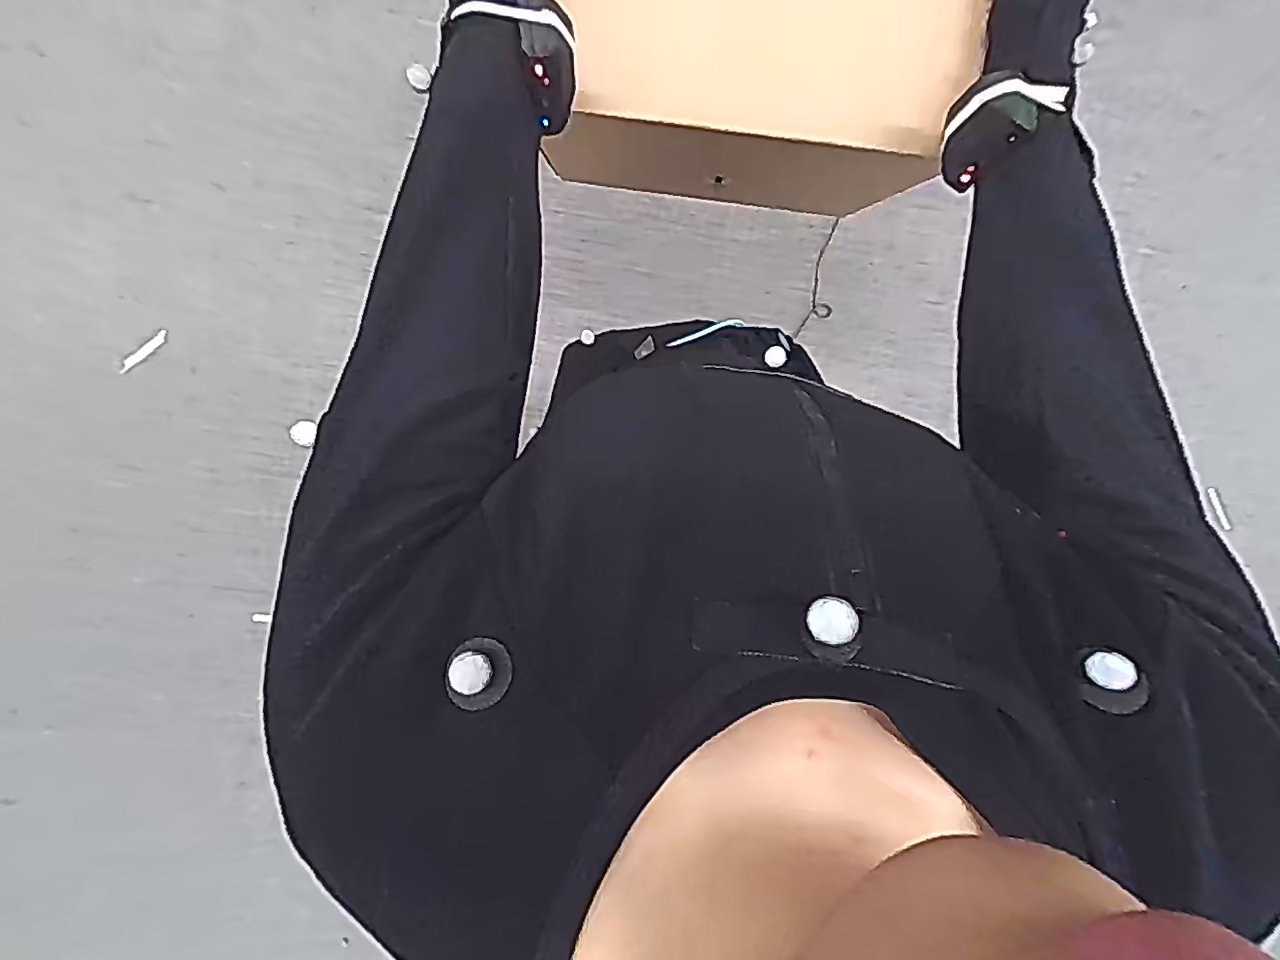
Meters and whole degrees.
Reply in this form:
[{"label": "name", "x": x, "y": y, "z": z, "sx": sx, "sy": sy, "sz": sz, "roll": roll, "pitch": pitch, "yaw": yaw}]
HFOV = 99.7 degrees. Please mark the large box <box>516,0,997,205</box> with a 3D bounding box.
[{"label": "large box", "x": 0.106, "y": -0.499, "z": 0.571, "sx": 0.408, "sy": 0.320, "sz": 0.320, "roll": 6, "pitch": 107, "yaw": -2}]
